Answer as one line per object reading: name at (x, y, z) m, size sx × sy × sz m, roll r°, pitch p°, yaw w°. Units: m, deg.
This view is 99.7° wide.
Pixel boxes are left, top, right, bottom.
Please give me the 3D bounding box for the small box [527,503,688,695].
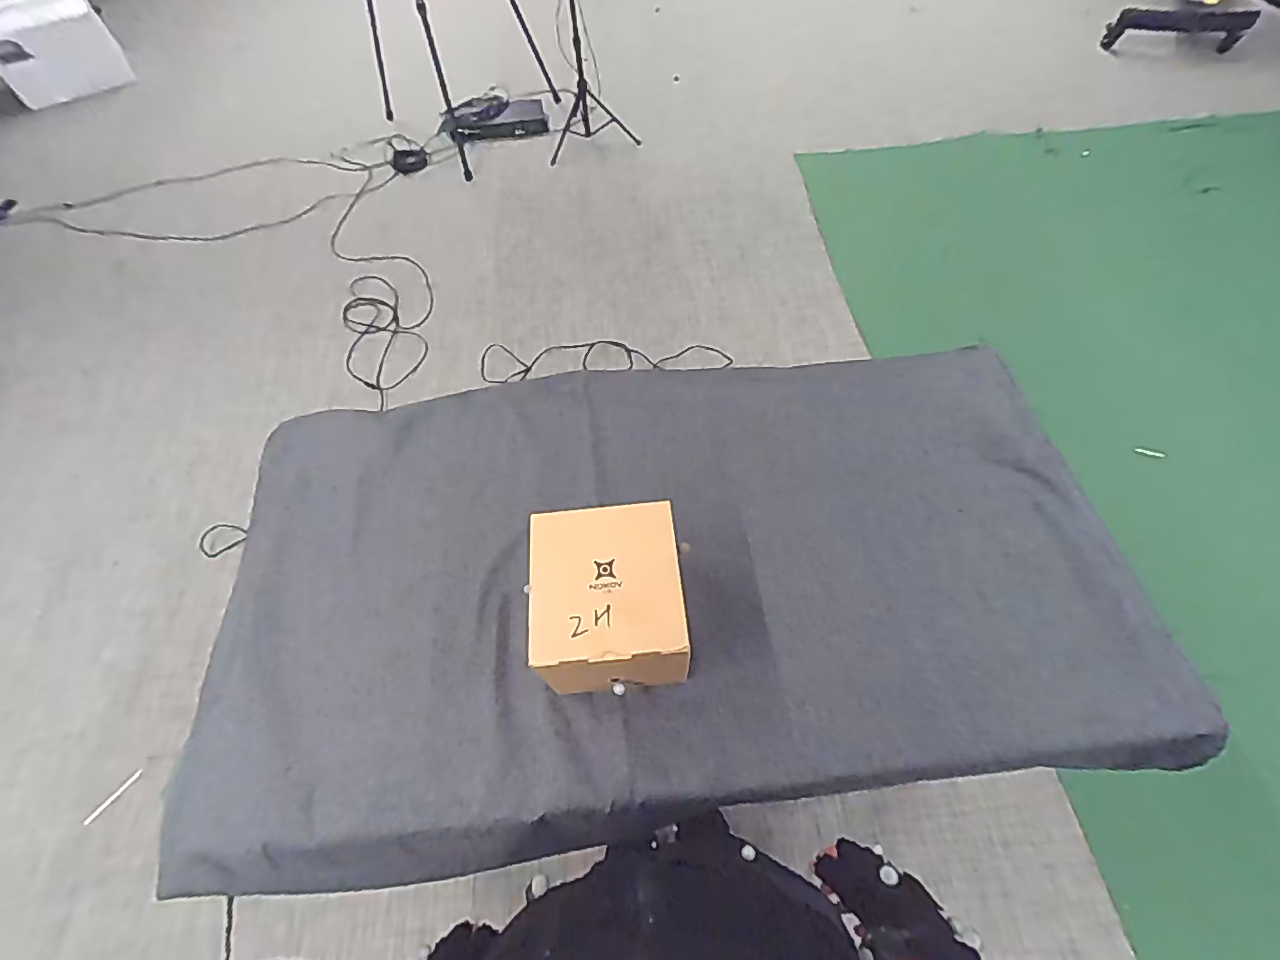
small box at (-0.036, 0.148, 0.655) m, size 0.168 × 0.176 × 0.179 m, roll -6°, pitch 60°, yaw 0°
